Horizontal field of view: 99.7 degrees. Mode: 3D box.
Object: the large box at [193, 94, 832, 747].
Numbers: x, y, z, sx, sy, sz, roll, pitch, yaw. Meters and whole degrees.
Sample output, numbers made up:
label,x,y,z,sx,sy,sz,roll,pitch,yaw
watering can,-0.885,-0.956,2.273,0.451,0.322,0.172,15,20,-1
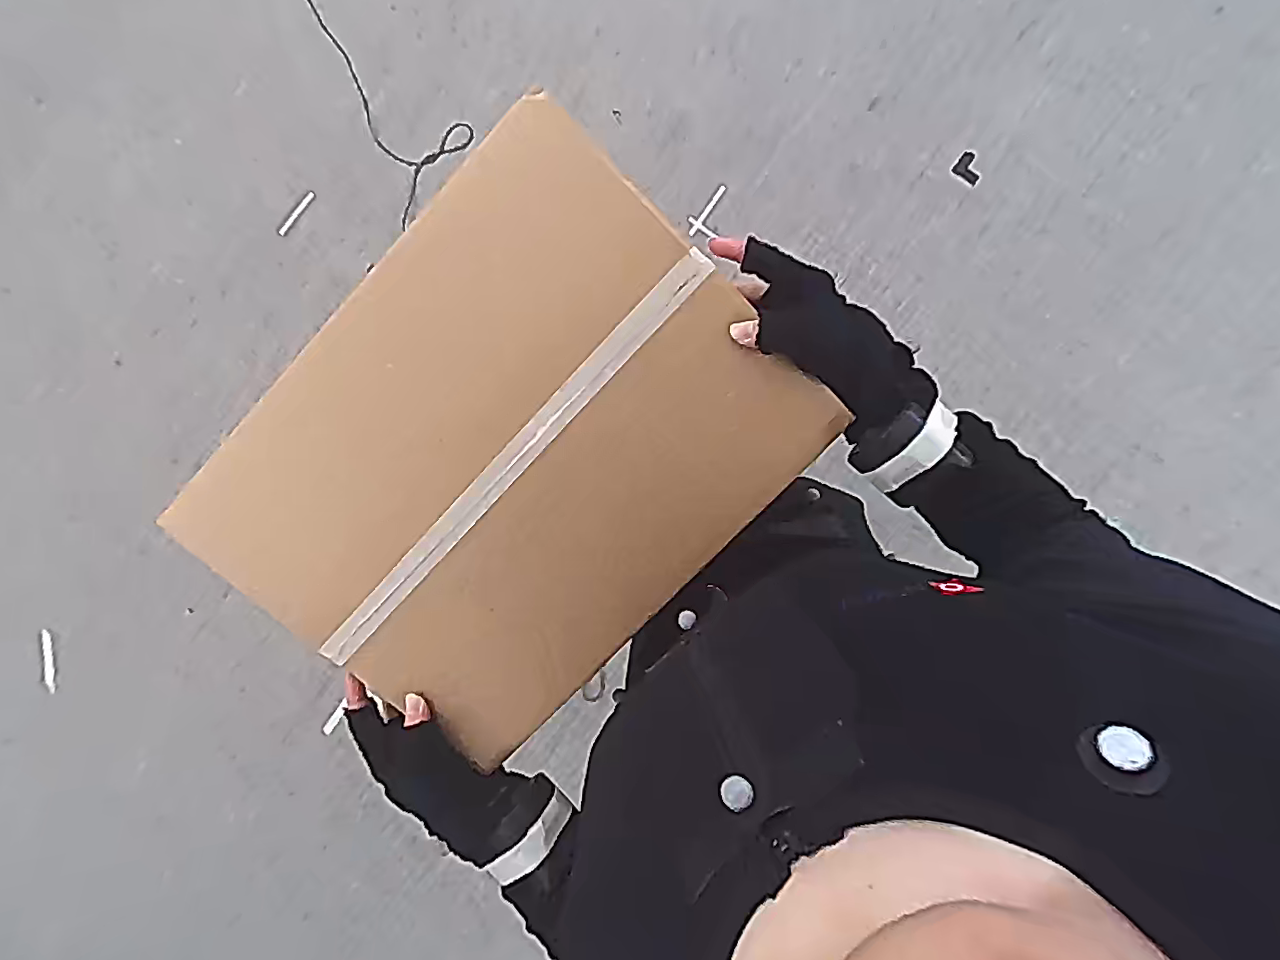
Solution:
label,x,y,z,sx,sy,sz,roll,pitch,yaw
large box,-0.101,-0.044,0.552,0.320,0.320,0.408,43,97,-9
